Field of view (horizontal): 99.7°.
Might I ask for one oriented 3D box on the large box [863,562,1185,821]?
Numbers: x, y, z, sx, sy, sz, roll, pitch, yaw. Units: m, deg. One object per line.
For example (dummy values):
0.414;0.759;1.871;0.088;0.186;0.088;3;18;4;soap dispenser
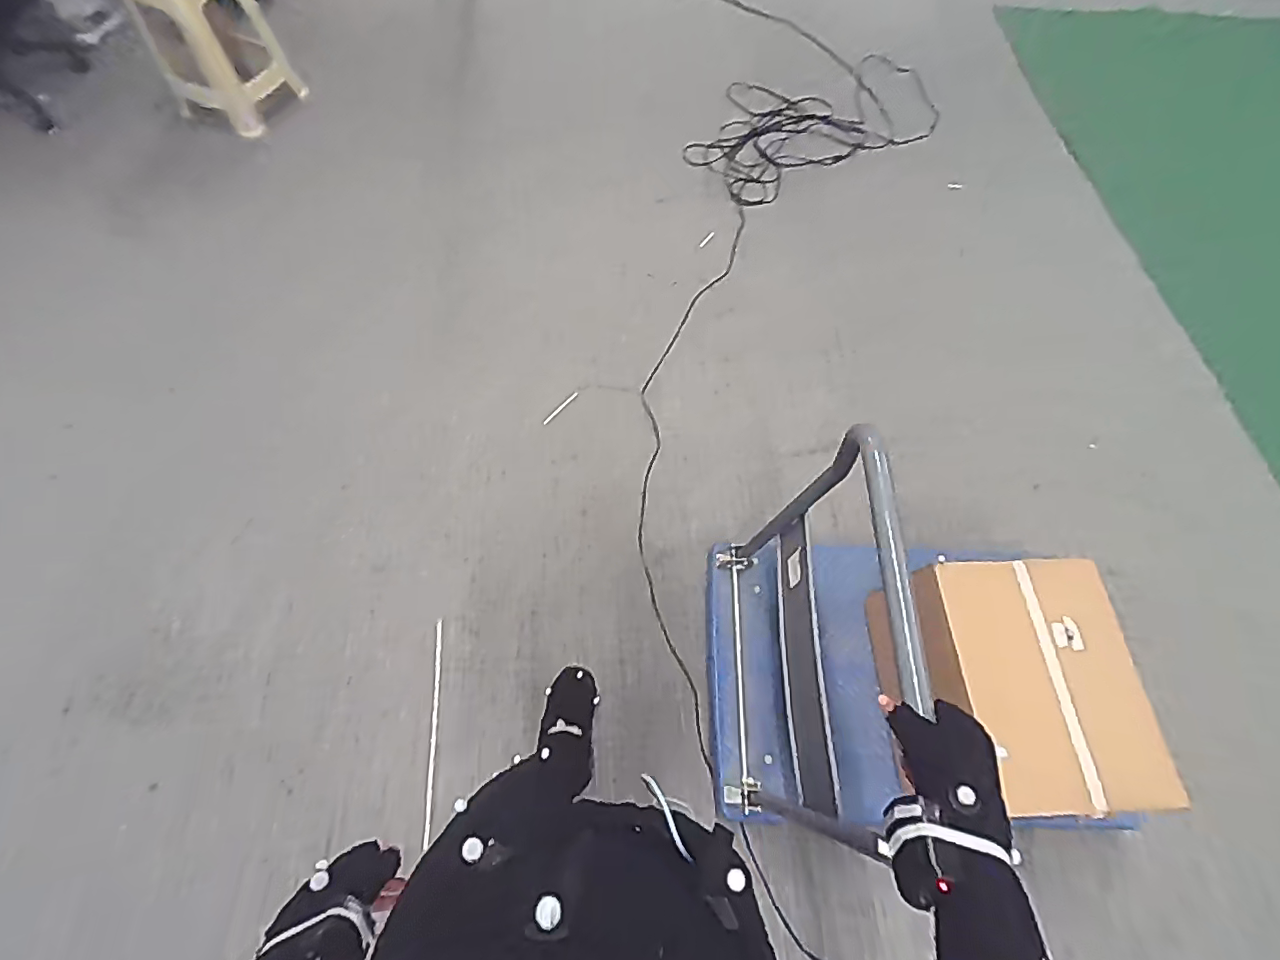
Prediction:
0.680;0.400;1.046;0.320;0.320;0.408;0;64;-5;large box
